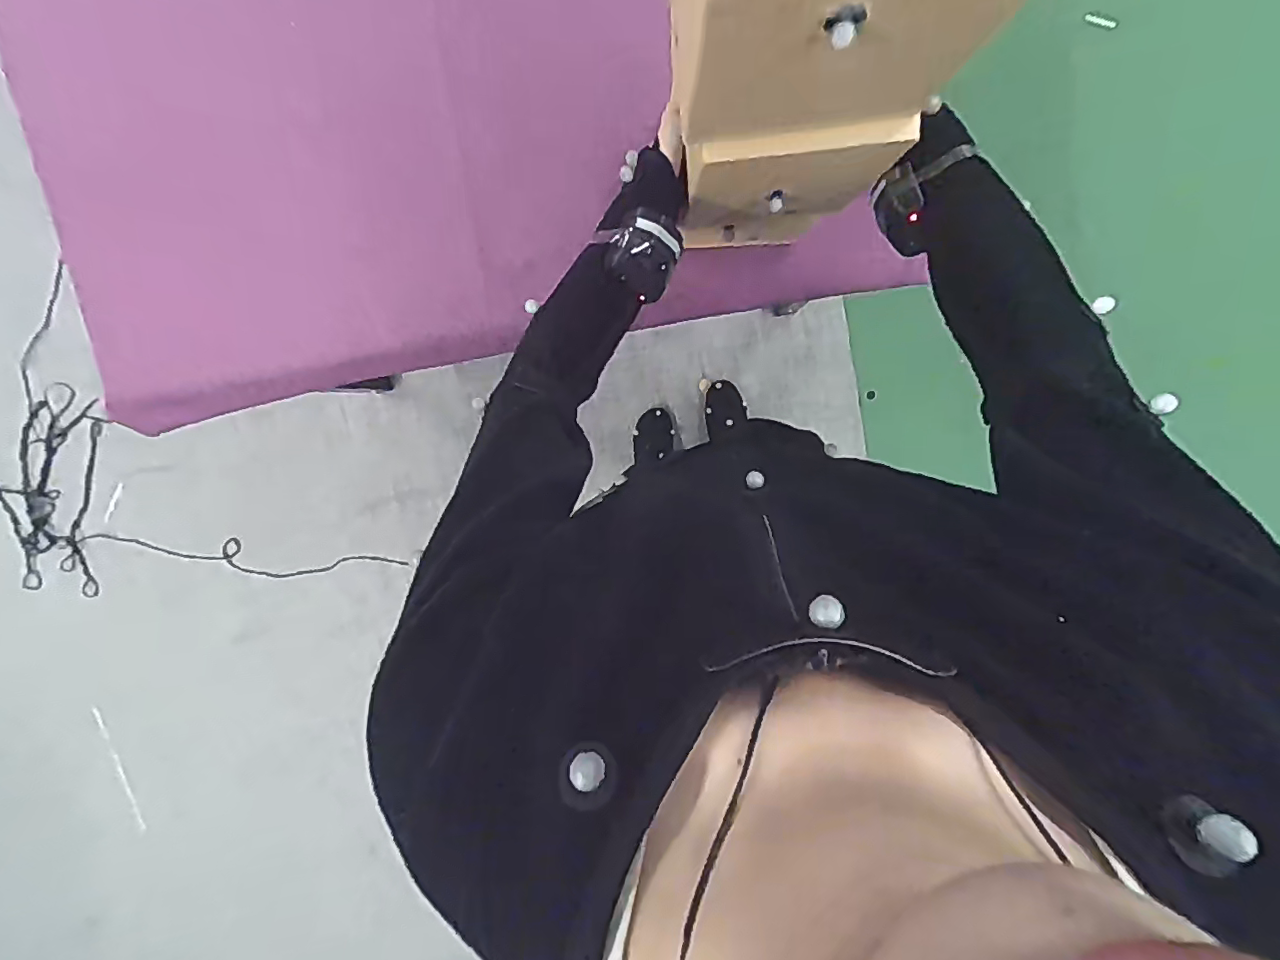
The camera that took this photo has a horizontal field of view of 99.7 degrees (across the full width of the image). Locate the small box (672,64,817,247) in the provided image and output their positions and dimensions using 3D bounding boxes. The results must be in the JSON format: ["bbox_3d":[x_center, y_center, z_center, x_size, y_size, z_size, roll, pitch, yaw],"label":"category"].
[{"bbox_3d":[0.124,-0.381,0.631,0.168,0.176,0.179,-2,98,1],"label":"small box"}]

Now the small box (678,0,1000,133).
[{"bbox_3d":[0.110,-0.327,0.307,0.179,0.176,0.168,-7,98,1],"label":"small box"}]

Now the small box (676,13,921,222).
[{"bbox_3d":[0.122,-0.341,0.471,0.168,0.176,0.179,-5,98,1],"label":"small box"}]
